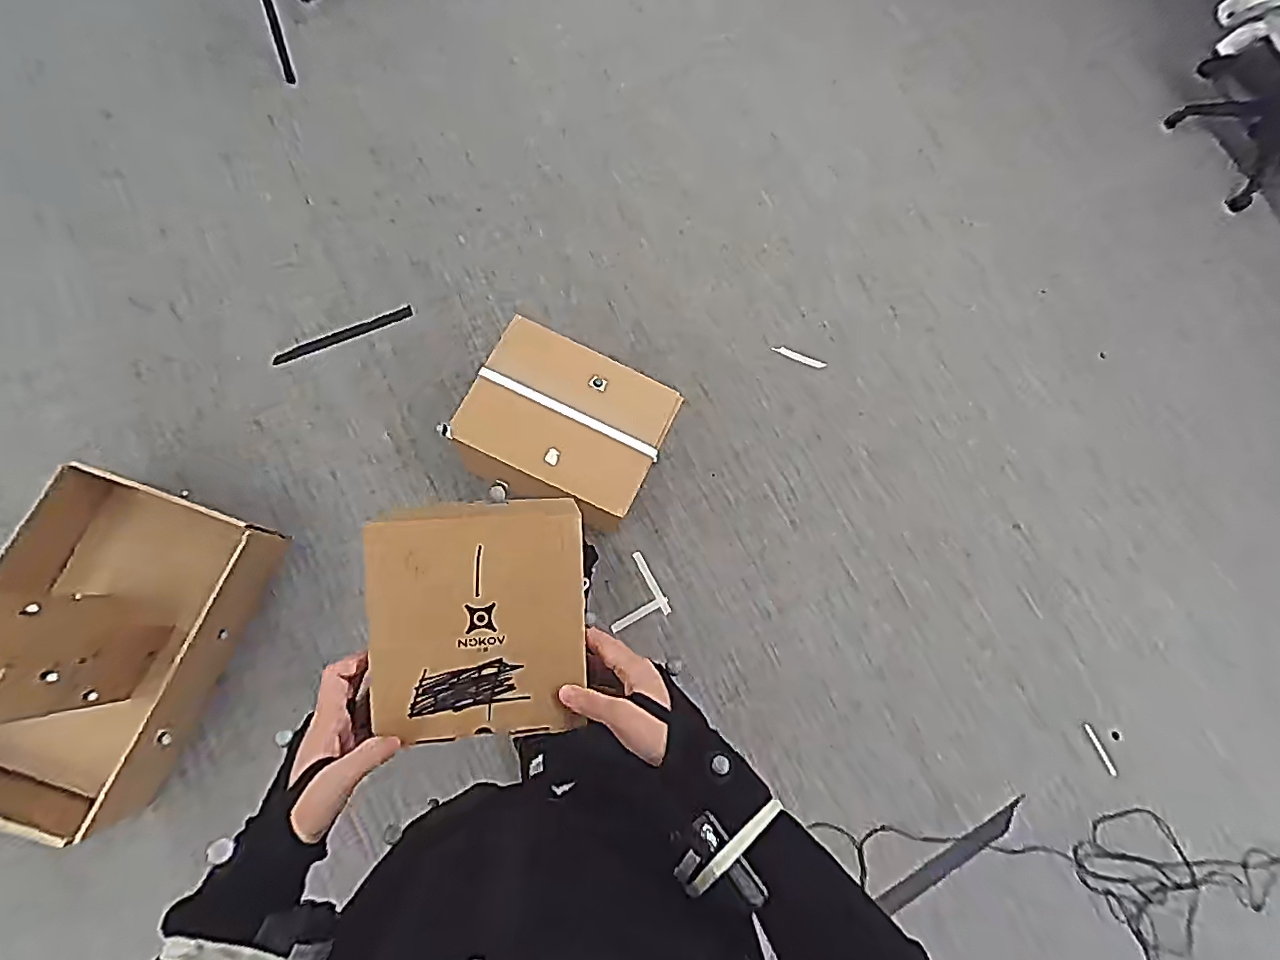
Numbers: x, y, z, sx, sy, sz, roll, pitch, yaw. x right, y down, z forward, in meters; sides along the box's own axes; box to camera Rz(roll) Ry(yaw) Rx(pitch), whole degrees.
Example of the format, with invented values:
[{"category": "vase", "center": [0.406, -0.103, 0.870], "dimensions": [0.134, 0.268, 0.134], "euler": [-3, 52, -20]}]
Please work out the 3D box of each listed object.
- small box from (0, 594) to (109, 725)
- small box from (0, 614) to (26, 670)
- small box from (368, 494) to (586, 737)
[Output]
[{"category": "small box", "center": [-1.079, 0.297, 0.910], "dimensions": [0.179, 0.176, 0.168], "euler": [25, 73, -2]}, {"category": "small box", "center": [-1.063, 0.248, 0.755], "dimensions": [0.179, 0.176, 0.168], "euler": [24, 74, -1]}, {"category": "small box", "center": [-0.137, 0.107, 0.502], "dimensions": [0.168, 0.176, 0.179], "euler": [-2, 92, -10]}]
